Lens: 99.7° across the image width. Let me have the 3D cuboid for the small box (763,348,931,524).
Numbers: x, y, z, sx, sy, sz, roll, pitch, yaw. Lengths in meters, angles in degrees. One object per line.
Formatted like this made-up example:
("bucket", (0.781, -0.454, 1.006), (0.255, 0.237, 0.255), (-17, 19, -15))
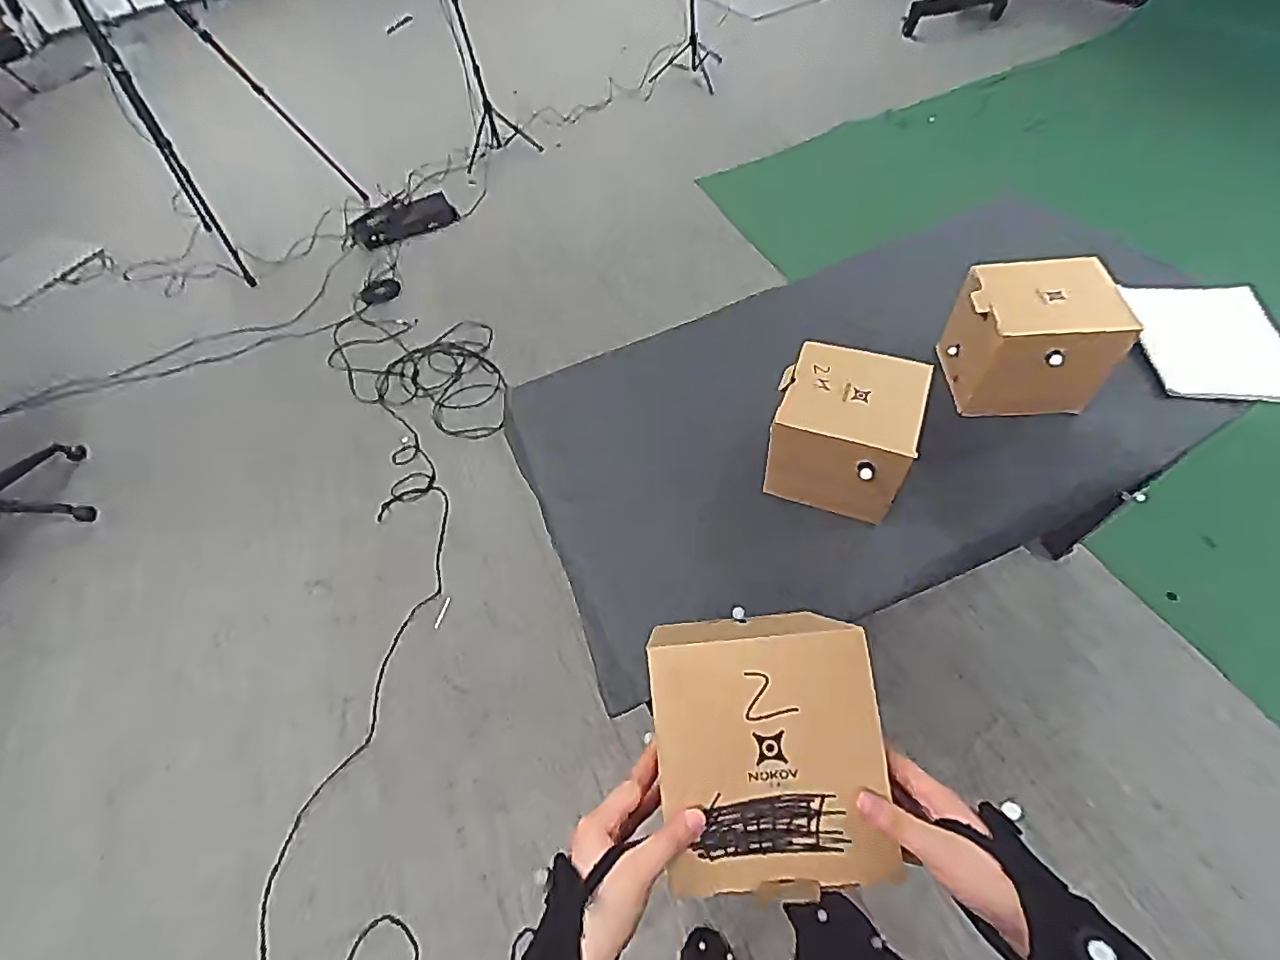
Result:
("small box", (0.287, -0.058, 0.776), (0.179, 0.176, 0.168), (17, 59, 19))

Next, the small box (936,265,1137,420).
("small box", (0.592, -0.206, 0.838), (0.179, 0.176, 0.168), (-1, 55, 9))
